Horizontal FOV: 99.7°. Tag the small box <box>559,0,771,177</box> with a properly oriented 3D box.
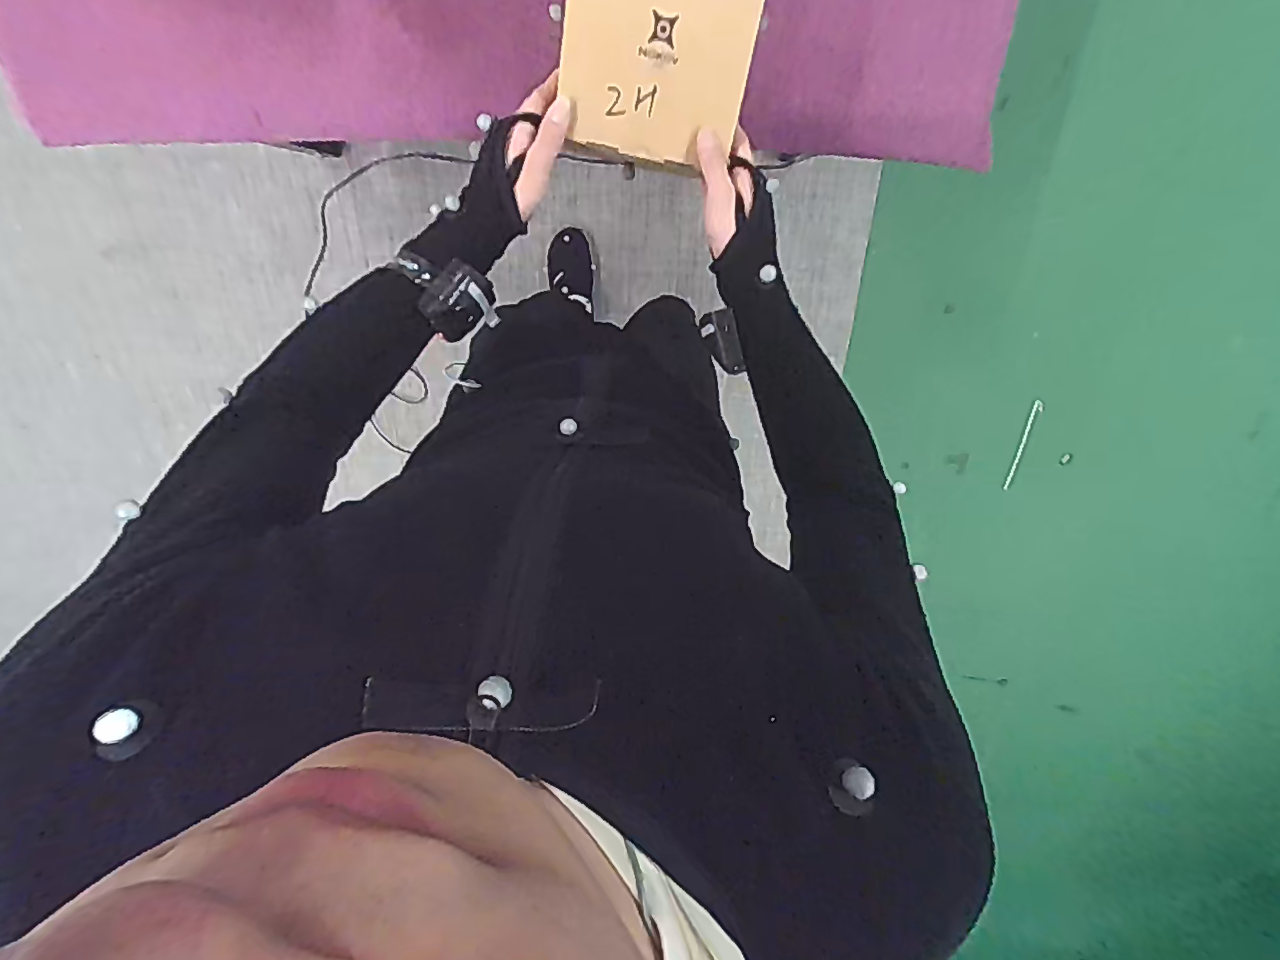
[{"bbox_3d":[0.013,-0.413,0.530,0.168,0.176,0.179,7,117,-10],"label":"small box"}]
